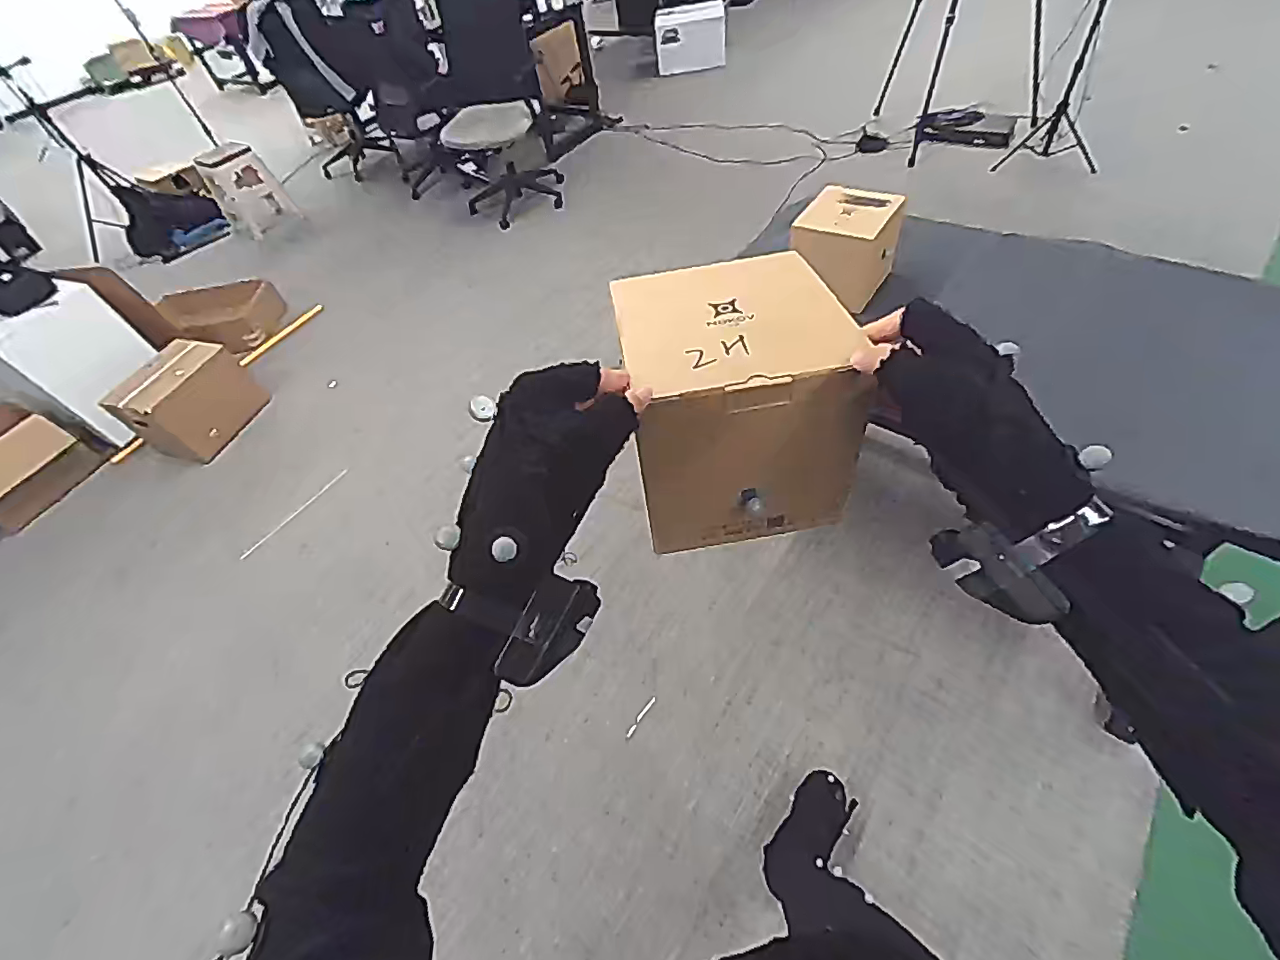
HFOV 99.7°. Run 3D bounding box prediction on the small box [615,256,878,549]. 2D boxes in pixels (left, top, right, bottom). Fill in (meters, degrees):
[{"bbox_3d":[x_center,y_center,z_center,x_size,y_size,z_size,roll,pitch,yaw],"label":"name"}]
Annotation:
[{"bbox_3d":[0.074,-0.066,0.467,0.168,0.176,0.179,-9,46,0],"label":"small box"}]
